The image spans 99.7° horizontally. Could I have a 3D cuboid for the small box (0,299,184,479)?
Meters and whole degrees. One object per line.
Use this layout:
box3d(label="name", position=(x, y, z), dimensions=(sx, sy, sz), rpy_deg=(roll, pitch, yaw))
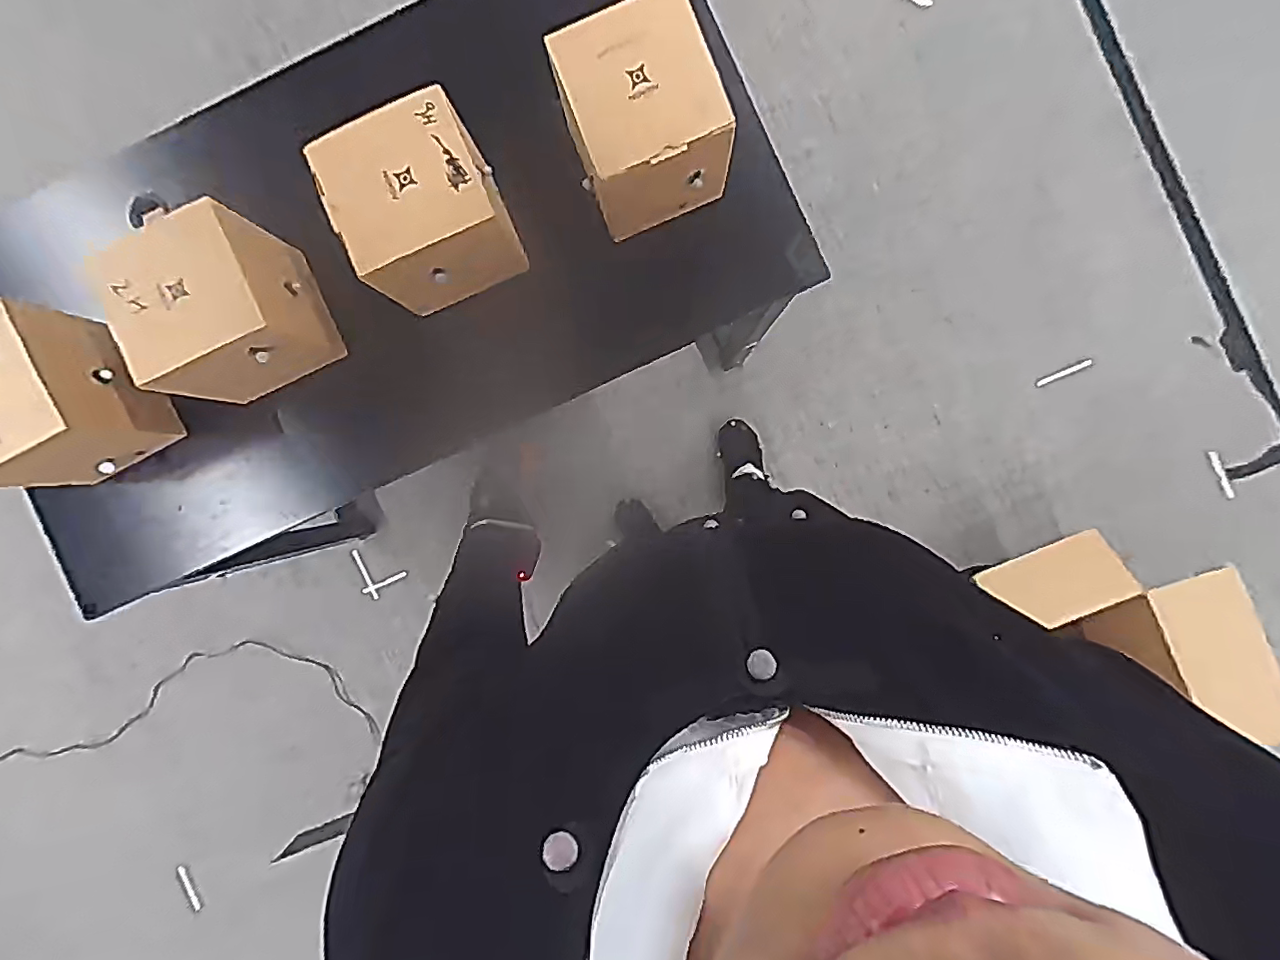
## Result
box3d(label="small box", position=(-0.783, -0.107, 0.724), dimensions=(0.168, 0.176, 0.179), rpy_deg=(-26, 92, 3))

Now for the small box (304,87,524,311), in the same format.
box3d(label="small box", position=(-0.275, -0.342, 0.699), dimensions=(0.179, 0.176, 0.168), rpy_deg=(-23, 91, 3))

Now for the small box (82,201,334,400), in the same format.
box3d(label="small box", position=(-0.541, -0.220, 0.711), dimensions=(0.179, 0.176, 0.168), rpy_deg=(-25, 90, 2))

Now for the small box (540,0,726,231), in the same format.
box3d(label="small box", position=(-0.004, -0.445, 0.685), dimensions=(0.168, 0.176, 0.179), rpy_deg=(-22, 90, 2))
